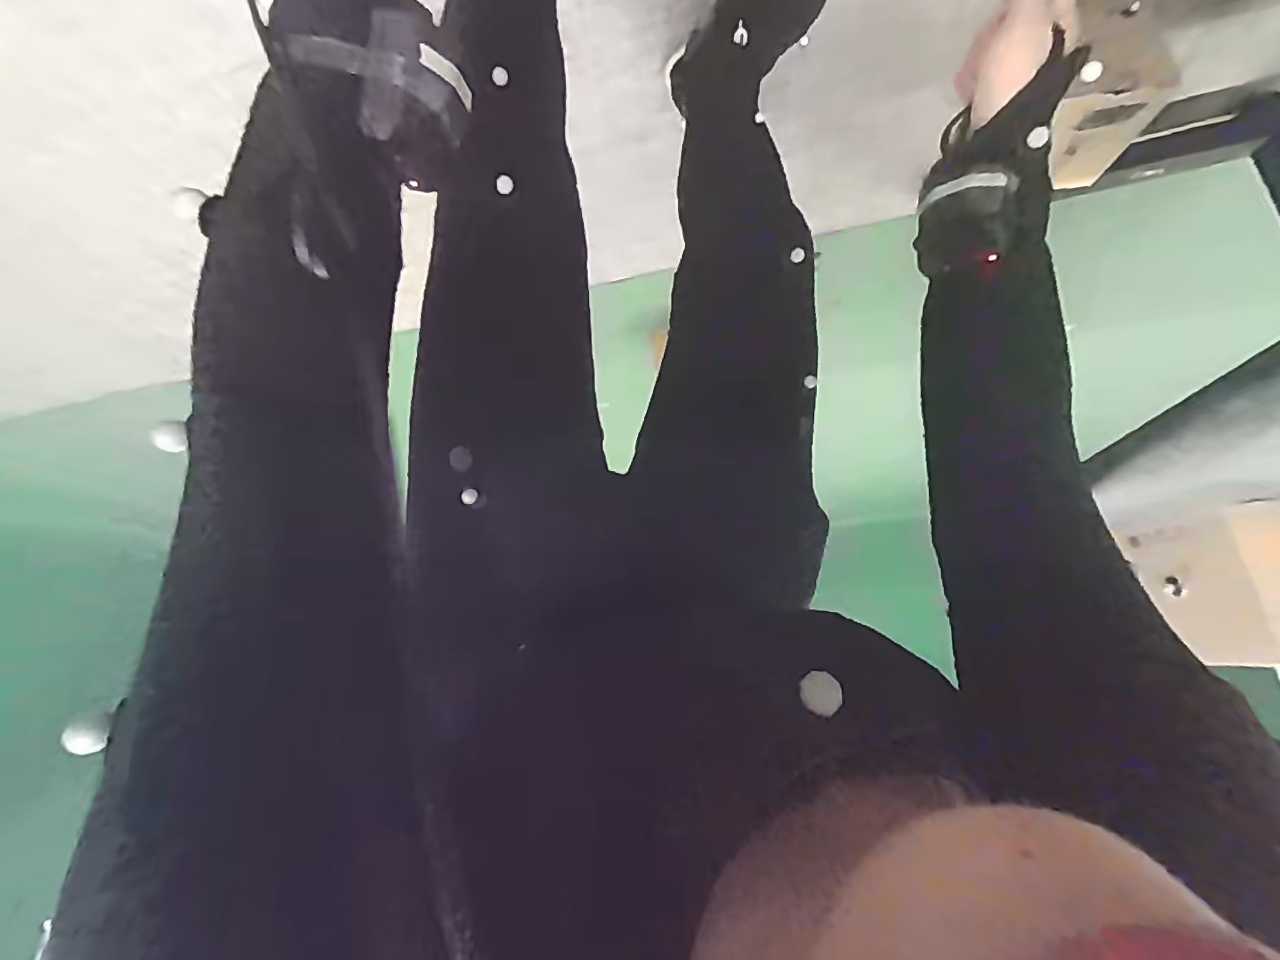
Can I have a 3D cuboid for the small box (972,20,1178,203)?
[{"bbox_3d":[0.649,-0.568,0.838,0.168,0.176,0.179,-4,164,2],"label":"small box"}]
